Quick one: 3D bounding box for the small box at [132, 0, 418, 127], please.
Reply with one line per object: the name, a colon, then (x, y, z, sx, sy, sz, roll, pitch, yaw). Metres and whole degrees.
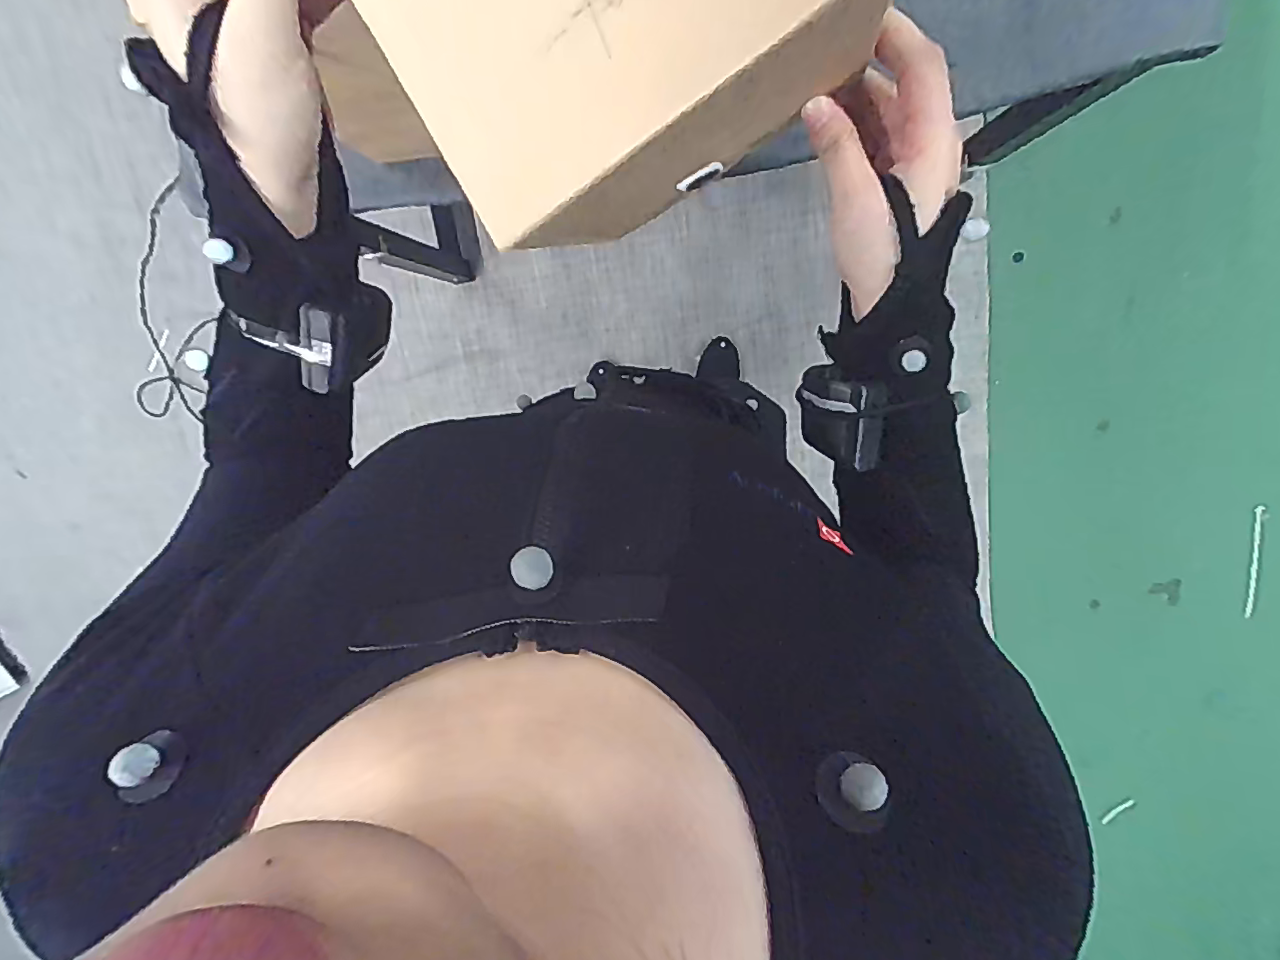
small box: (-0.260, -0.408, 0.424, 0.179, 0.176, 0.168, -5, 103, 6)

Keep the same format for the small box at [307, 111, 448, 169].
small box: (-0.257, -0.457, 0.579, 0.179, 0.176, 0.168, -4, 102, 5)

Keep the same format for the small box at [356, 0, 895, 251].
small box: (-0.008, -0.226, 0.242, 0.168, 0.176, 0.179, -23, 106, 26)
